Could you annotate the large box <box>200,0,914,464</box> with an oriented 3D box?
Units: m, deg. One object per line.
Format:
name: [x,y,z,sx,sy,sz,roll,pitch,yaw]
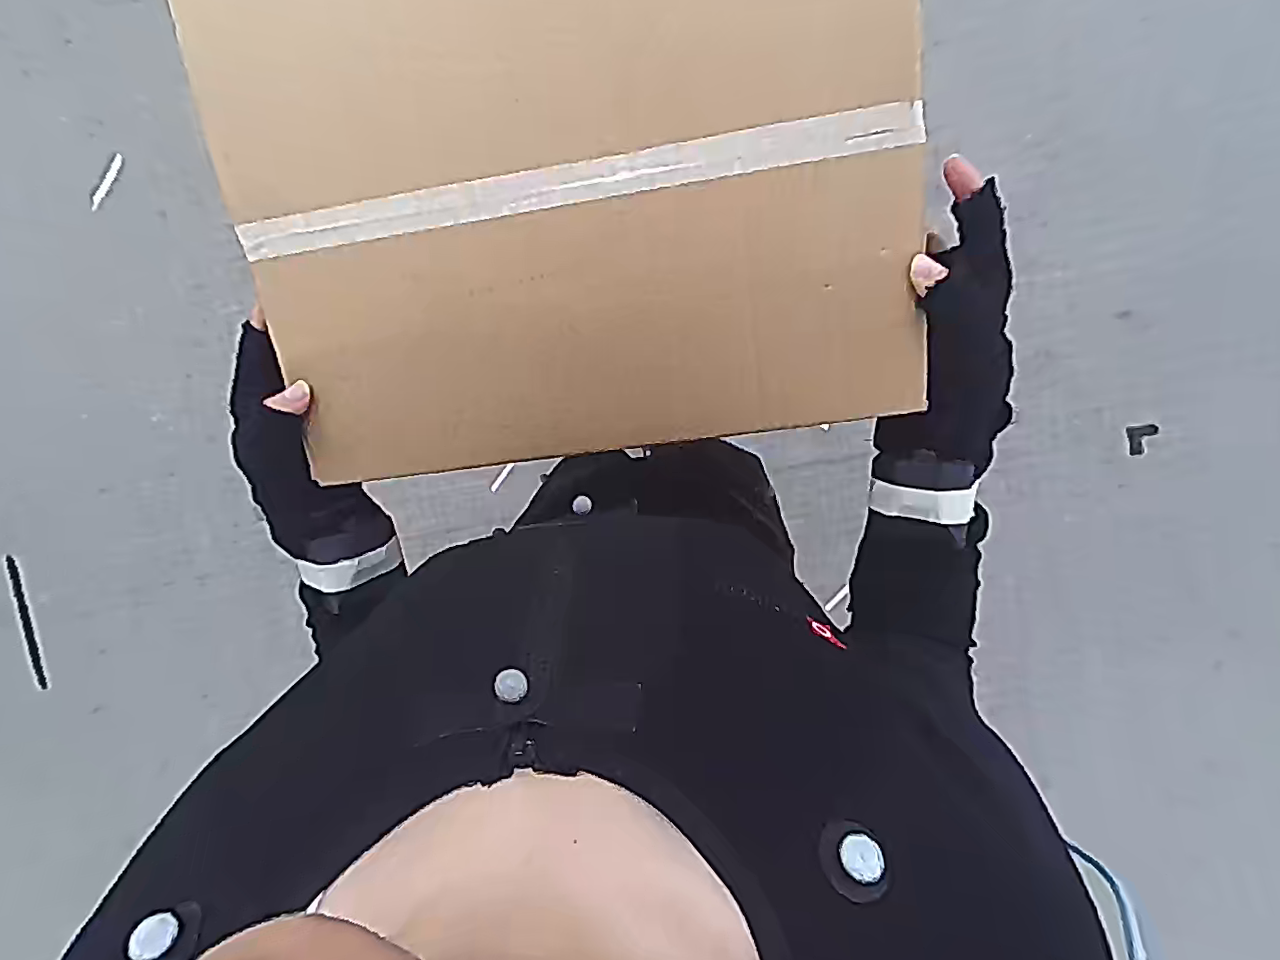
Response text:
large box: [-0.036,-0.219,0.471,0.408,0.320,0.320,-7,105,6]
